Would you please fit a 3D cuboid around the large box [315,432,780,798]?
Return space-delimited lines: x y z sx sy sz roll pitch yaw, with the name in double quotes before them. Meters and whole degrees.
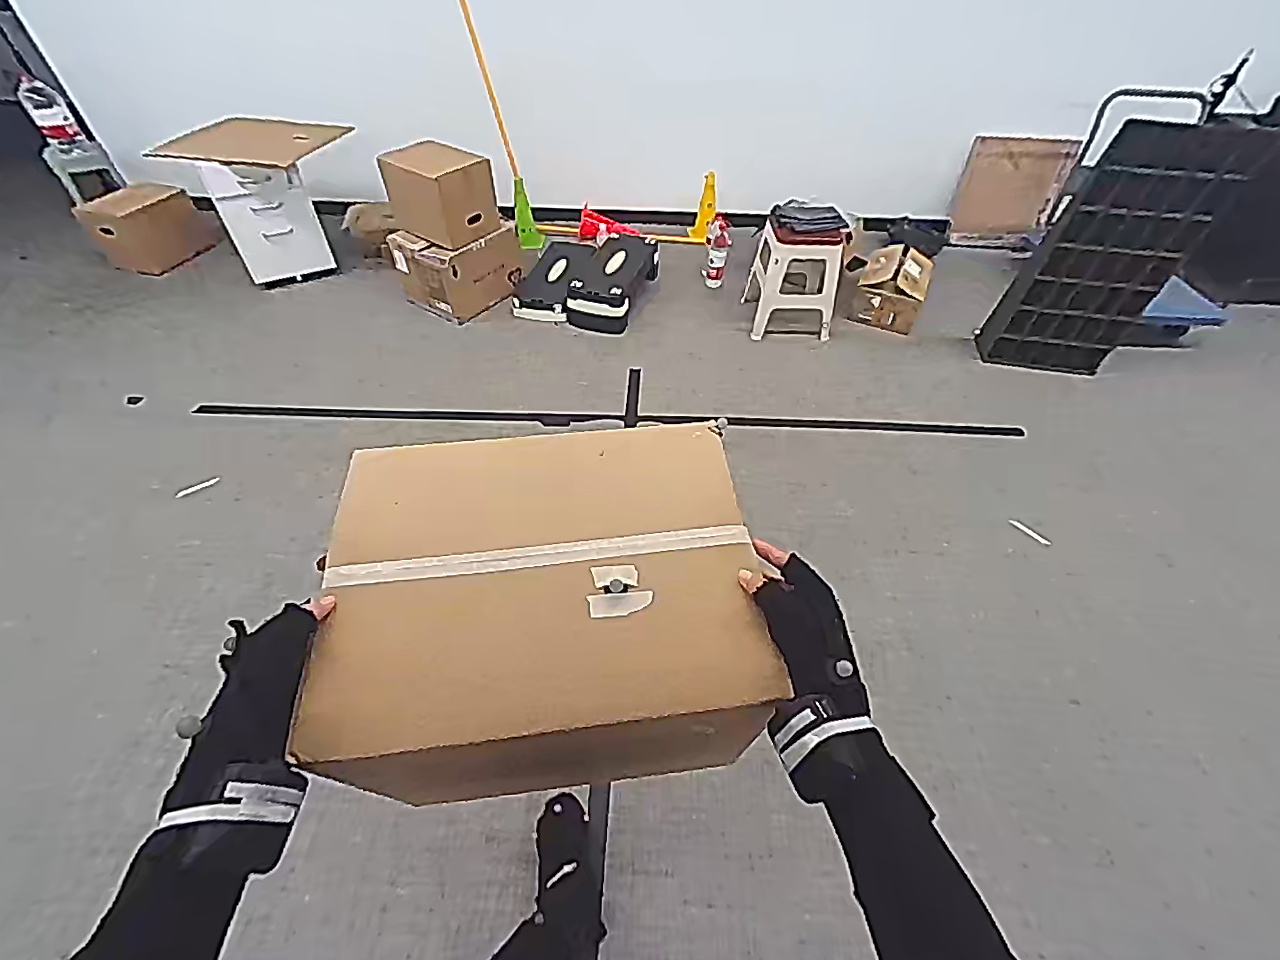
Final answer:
"large box" -0.096 0.169 0.663 0.408 0.320 0.320 -5 55 -6
